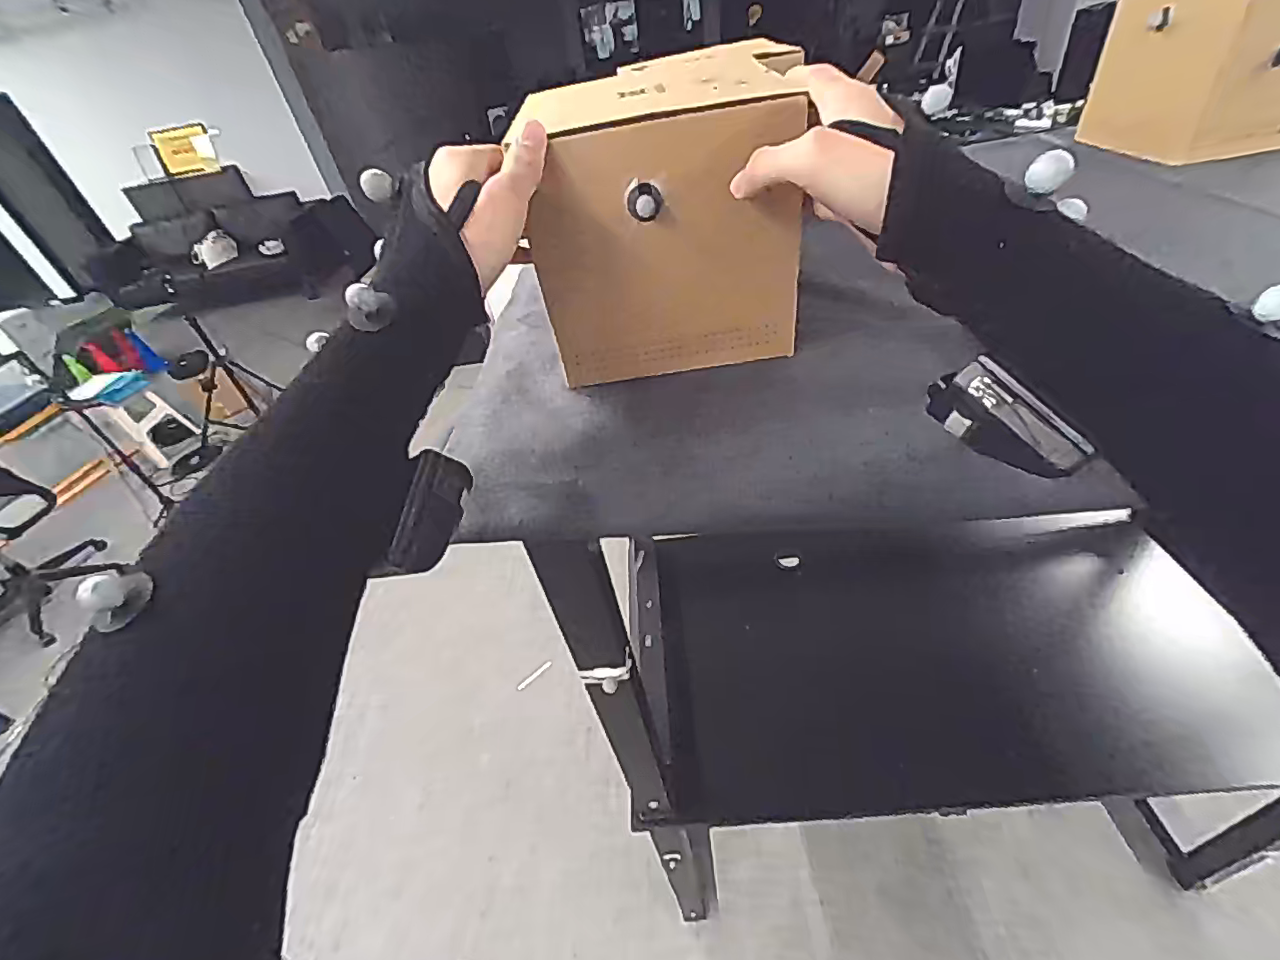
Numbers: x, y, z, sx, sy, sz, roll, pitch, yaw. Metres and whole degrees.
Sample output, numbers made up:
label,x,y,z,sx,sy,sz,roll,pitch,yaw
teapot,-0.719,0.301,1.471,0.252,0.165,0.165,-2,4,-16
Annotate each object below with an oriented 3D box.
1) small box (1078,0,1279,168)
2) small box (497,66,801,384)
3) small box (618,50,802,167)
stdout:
label,x,y,z,sx,sy,sz,roll,pitch,yaw
small box,0.643,-0.458,0.594,0.168,0.176,0.179,-8,40,4
small box,0.012,-0.188,0.411,0.179,0.176,0.168,-8,43,3
small box,0.073,-0.376,0.626,0.179,0.176,0.168,-8,40,2
